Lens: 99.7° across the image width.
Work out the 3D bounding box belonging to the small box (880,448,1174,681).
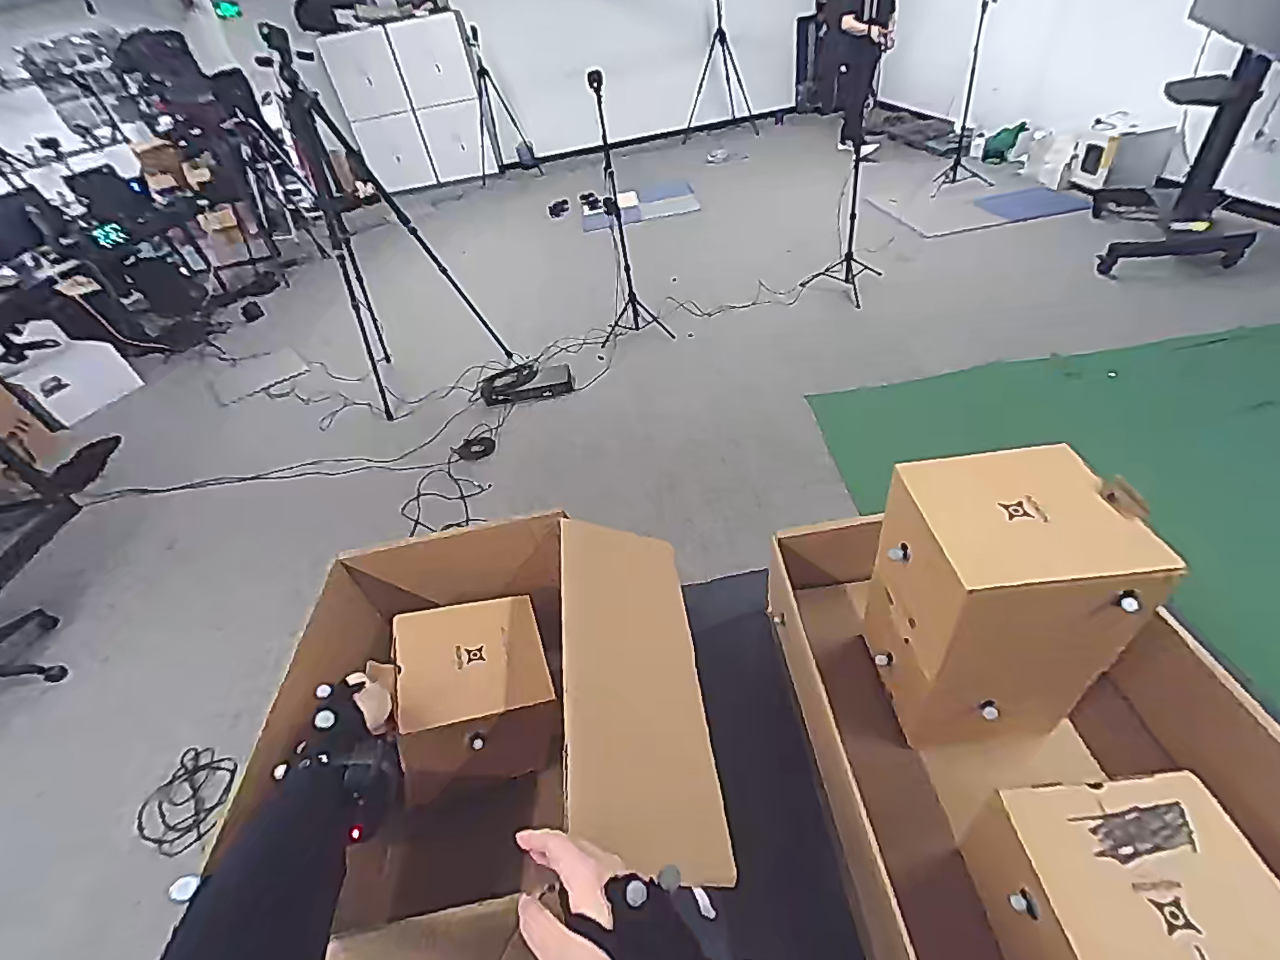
[{"bbox_3d":[0.365,0.091,0.560,0.179,0.176,0.168,-7,42,5],"label":"small box"}]
